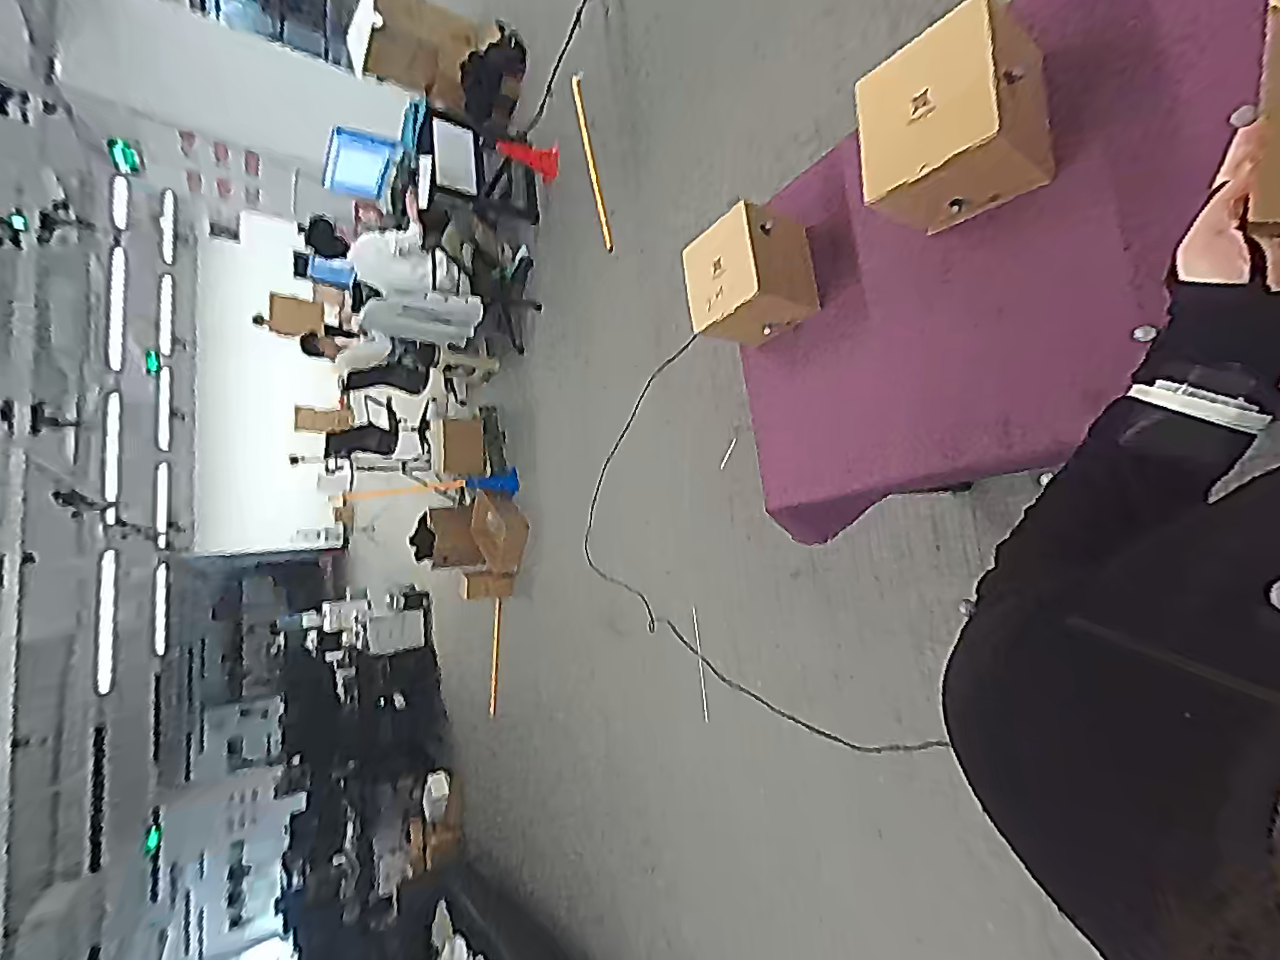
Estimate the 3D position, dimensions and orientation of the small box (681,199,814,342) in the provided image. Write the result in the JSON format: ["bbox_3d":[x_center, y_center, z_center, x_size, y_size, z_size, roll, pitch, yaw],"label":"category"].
[{"bbox_3d":[0.201,-0.379,1.015,0.168,0.176,0.179,-20,74,53],"label":"small box"}]

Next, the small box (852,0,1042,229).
[{"bbox_3d":[0.411,-0.472,0.728,0.168,0.176,0.179,-8,85,54],"label":"small box"}]
